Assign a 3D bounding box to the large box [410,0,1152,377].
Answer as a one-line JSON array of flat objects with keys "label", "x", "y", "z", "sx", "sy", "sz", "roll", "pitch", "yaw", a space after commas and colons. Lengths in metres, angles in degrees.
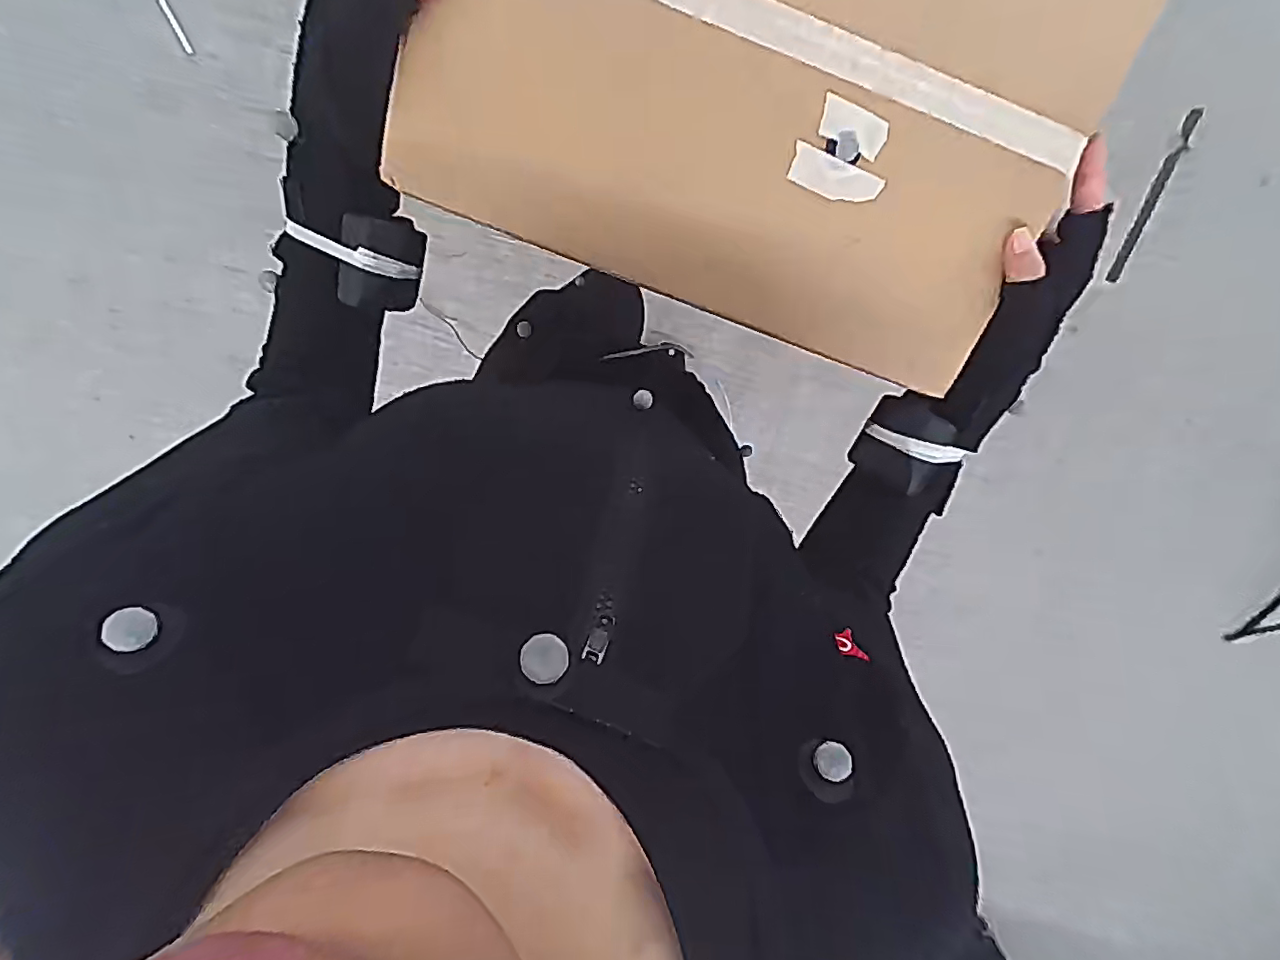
[{"label": "large box", "x": 0.084, "y": -0.321, "z": 0.463, "sx": 0.408, "sy": 0.320, "sz": 0.320, "roll": 19, "pitch": 111, "yaw": -6}]
